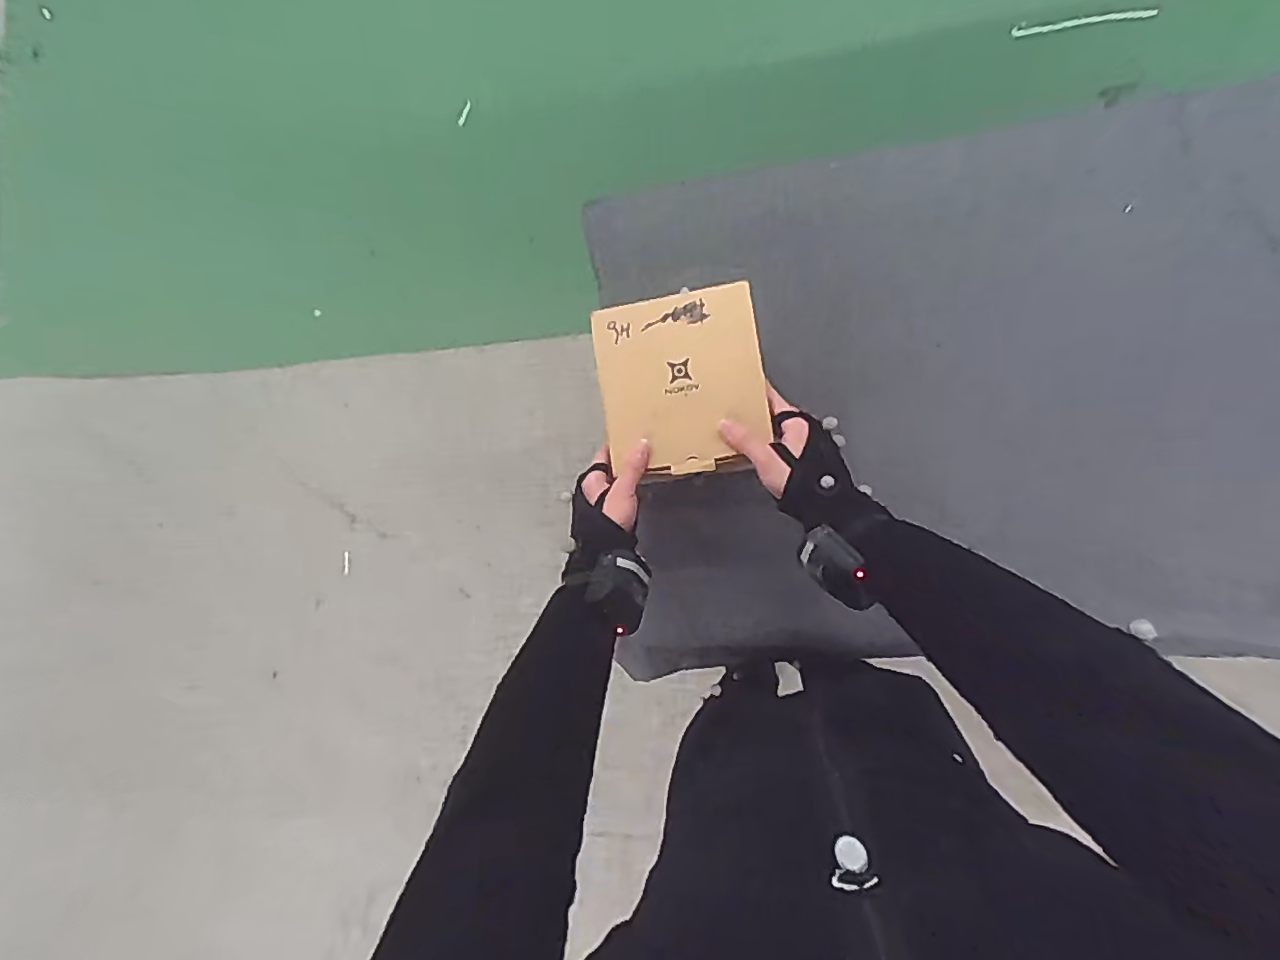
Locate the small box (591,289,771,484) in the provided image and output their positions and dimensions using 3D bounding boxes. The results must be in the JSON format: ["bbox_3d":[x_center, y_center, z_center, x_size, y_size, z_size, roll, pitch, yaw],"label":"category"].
[{"bbox_3d":[0.054,-0.091,0.622,0.168,0.176,0.179,-9,86,9],"label":"small box"}]
